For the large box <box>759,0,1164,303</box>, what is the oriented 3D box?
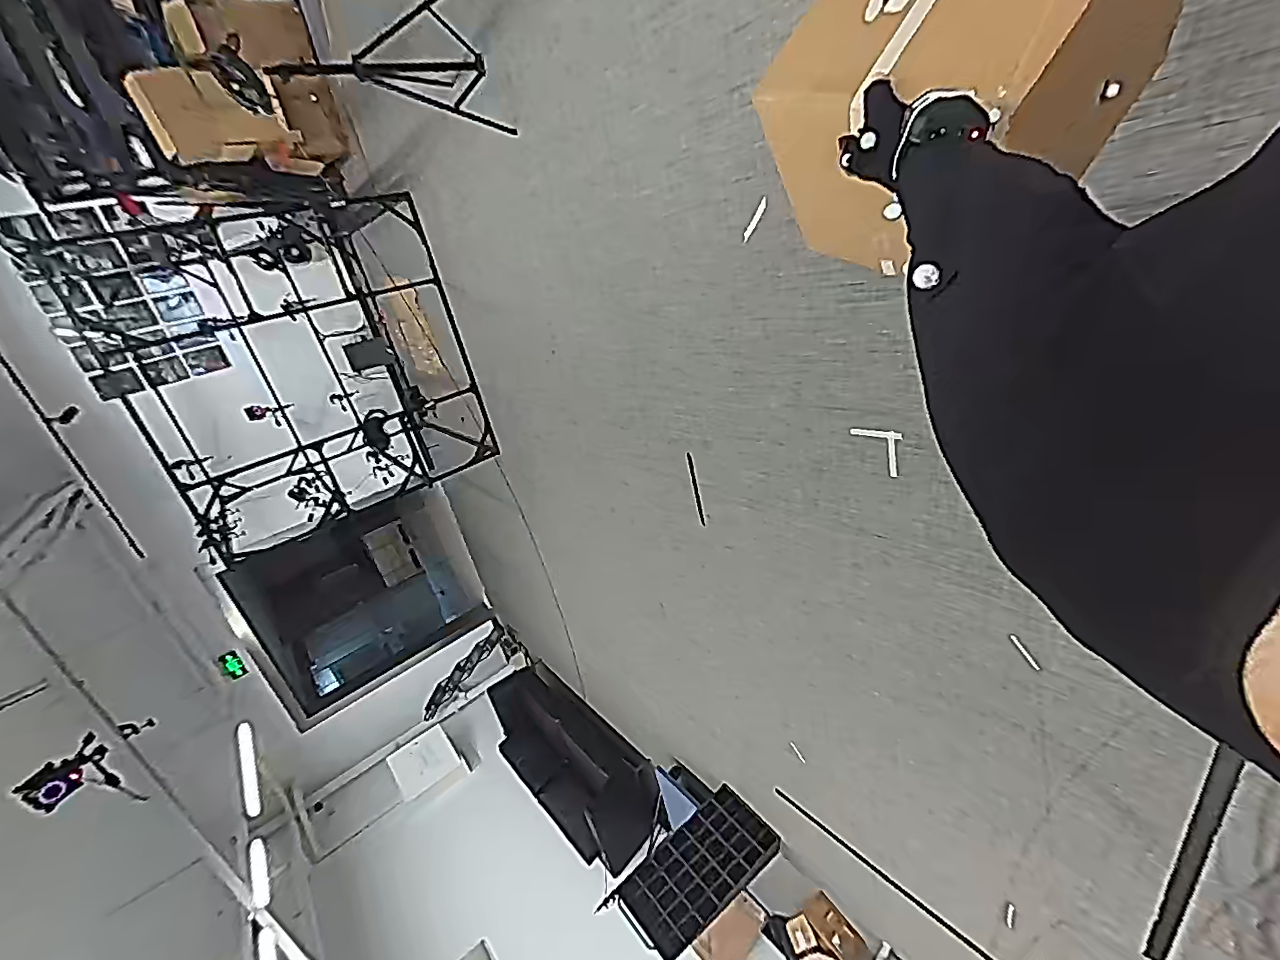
[{"bbox_3d":[0.437,-0.532,0.738,0.320,0.408,0.320,37,-176,36],"label":"large box"}]
